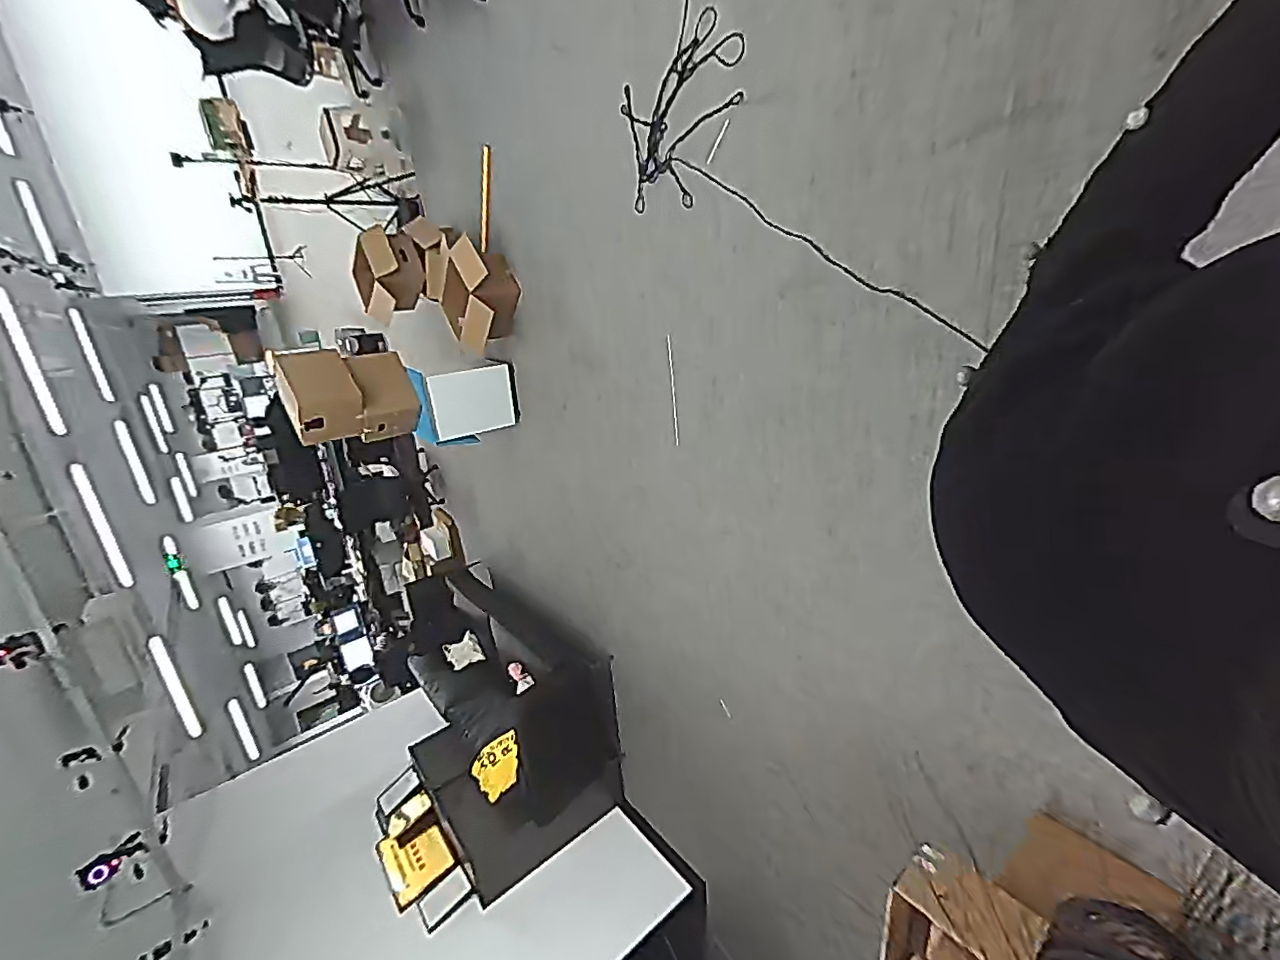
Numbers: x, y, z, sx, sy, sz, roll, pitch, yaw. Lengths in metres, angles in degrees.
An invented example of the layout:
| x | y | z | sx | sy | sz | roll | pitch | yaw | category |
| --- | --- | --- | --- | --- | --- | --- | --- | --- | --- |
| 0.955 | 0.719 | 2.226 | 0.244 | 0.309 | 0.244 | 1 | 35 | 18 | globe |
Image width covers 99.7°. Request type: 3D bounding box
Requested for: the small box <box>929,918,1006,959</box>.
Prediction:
| x | y | z | sx | sy | sz | roll | pitch | yaw | category |
| --- | --- | --- | --- | --- | --- | --- | --- | --- | --- |
| 0.780 | 1.206 | 1.281 | 0.168 | 0.176 | 0.179 | 27 | 125 | 47 | small box |
